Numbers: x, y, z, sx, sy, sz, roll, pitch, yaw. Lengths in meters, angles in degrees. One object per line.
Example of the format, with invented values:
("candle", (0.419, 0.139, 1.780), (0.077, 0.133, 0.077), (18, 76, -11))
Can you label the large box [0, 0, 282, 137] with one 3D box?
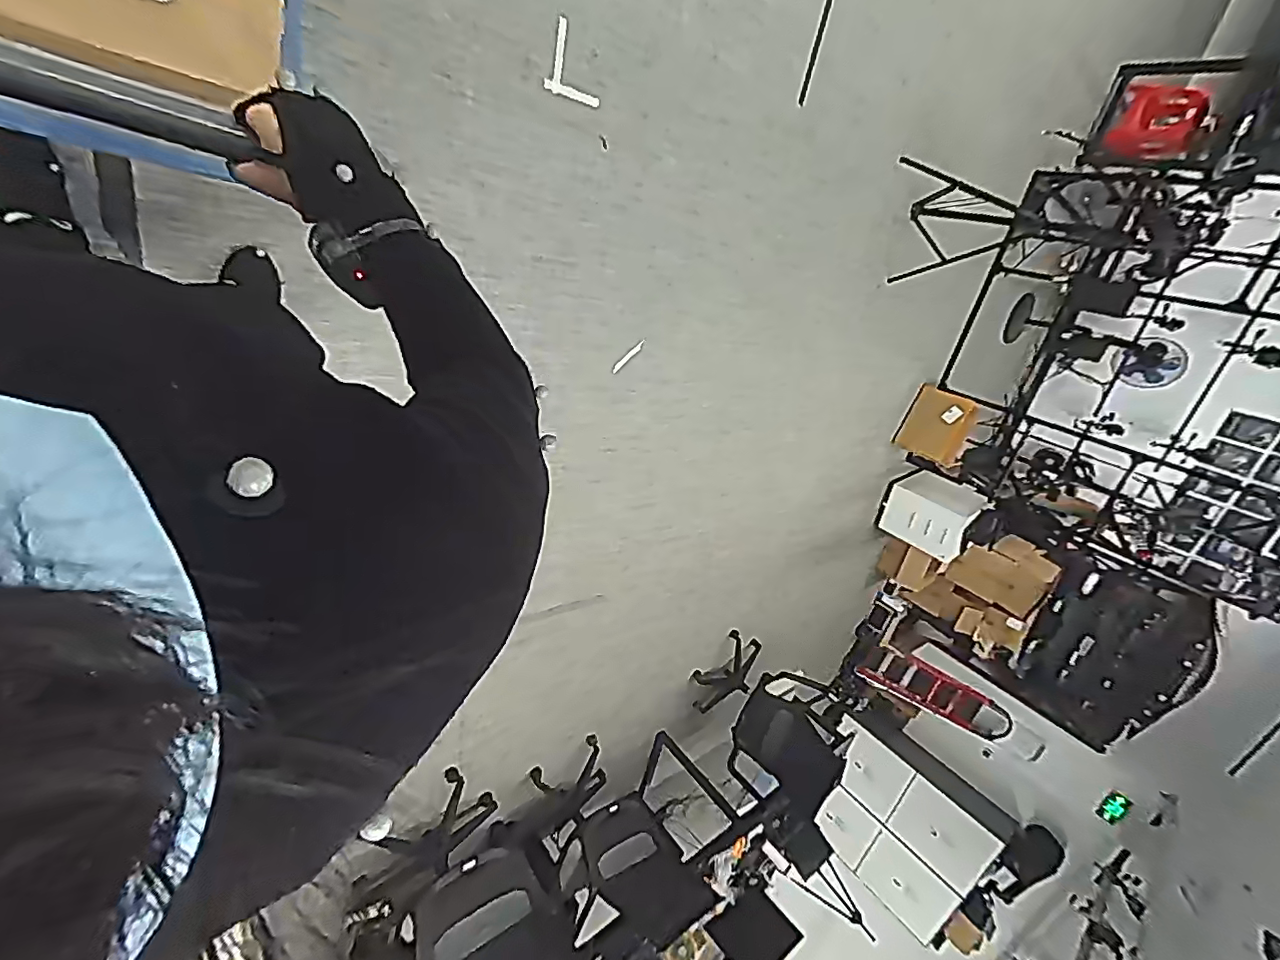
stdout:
("large box", (-0.695, -0.648, 0.642), (0.408, 0.320, 0.320), (-5, 118, -44))
